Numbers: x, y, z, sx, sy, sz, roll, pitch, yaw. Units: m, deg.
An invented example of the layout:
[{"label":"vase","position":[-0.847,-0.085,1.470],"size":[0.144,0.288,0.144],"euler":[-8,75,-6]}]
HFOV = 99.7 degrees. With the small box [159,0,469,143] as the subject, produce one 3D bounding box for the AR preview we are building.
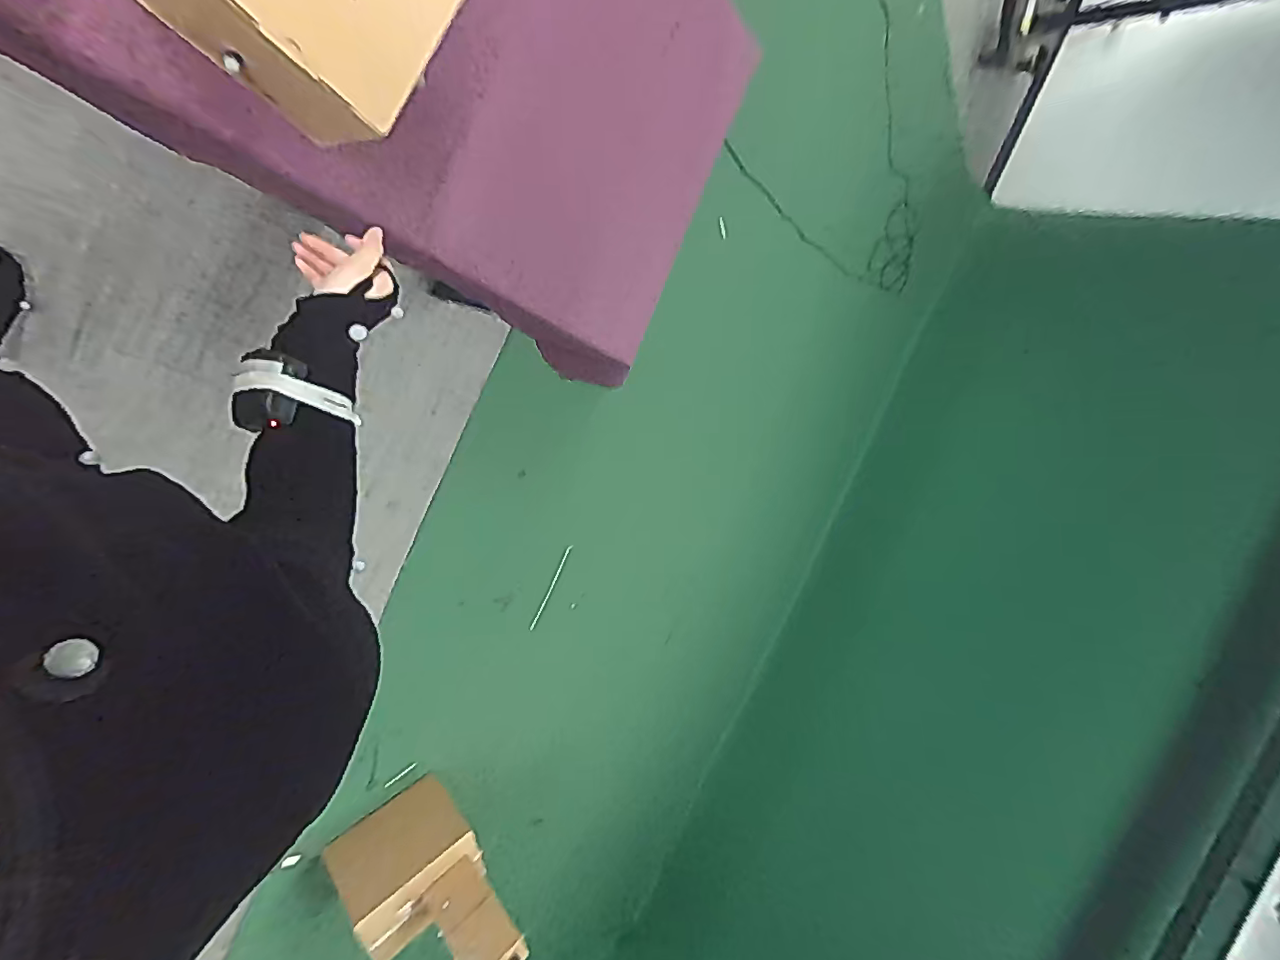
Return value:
[{"label":"small box","position":[-0.290,-0.437,0.482],"size":[0.168,0.176,0.179],"euler":[31,88,-51]}]
